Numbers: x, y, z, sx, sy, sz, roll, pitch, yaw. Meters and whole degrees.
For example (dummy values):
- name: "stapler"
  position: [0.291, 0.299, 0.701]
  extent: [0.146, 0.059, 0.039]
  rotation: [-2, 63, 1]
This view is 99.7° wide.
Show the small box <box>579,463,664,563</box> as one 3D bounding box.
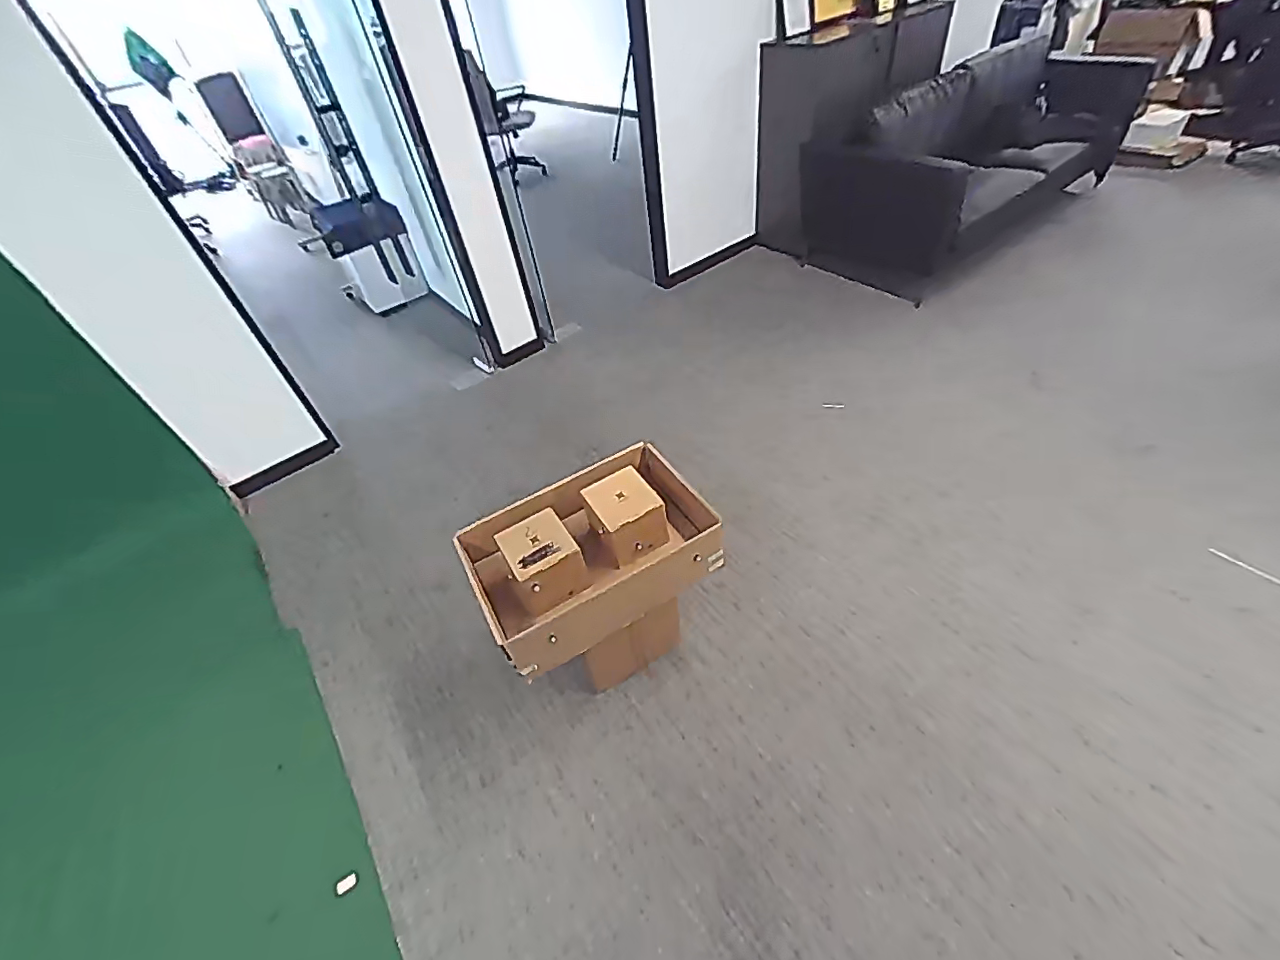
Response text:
- name: "small box"
  position: [-0.048, 0.091, 1.476]
  extent: [0.168, 0.176, 0.179]
  rotation: [-27, 51, -17]
